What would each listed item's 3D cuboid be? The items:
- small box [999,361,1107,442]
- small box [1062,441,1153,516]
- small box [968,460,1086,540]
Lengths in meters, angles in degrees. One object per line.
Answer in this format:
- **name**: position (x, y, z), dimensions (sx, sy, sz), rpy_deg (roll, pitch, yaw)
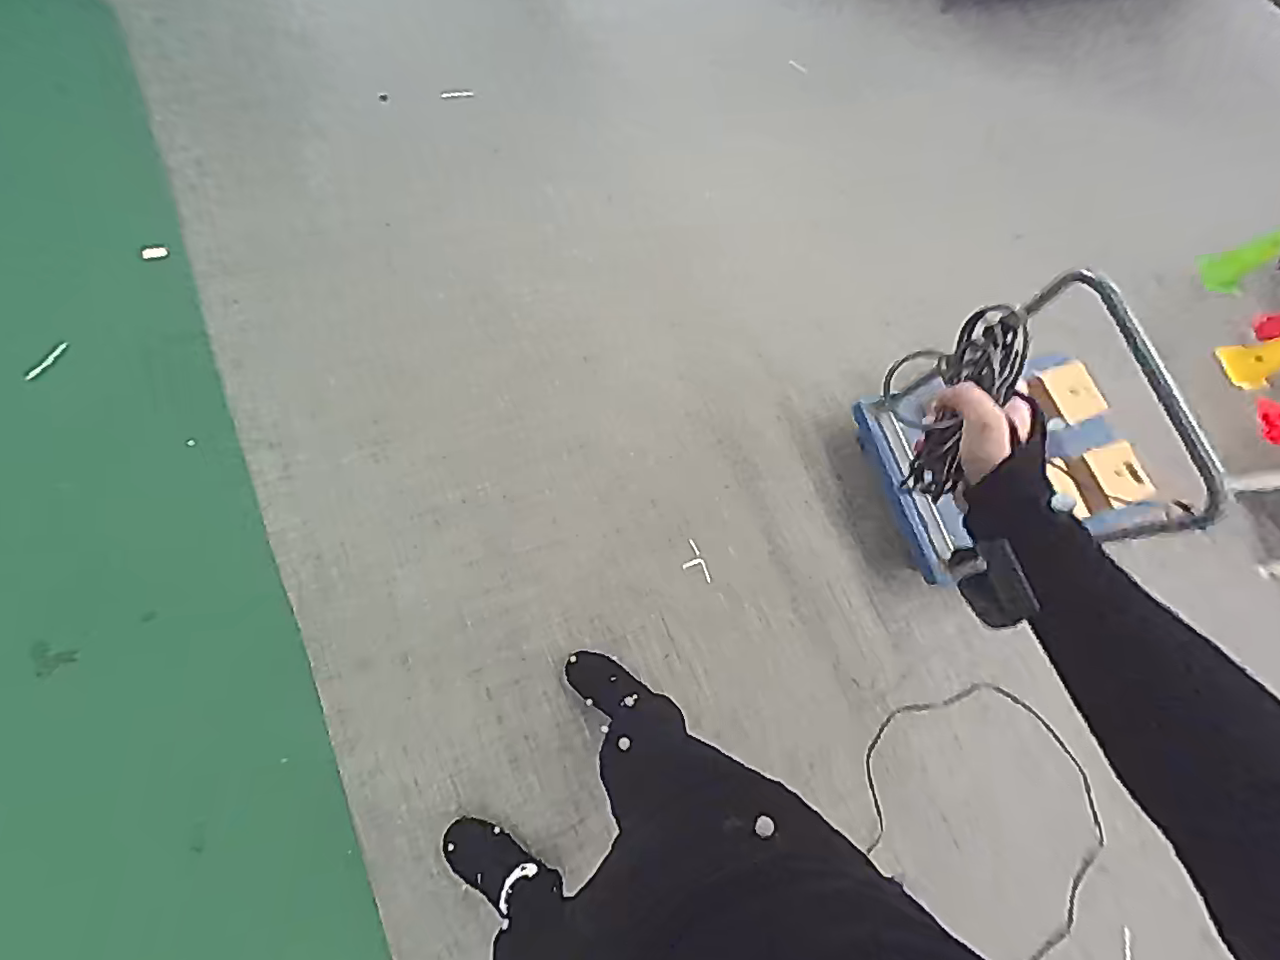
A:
- **small box**: position (1.228, -0.231, 1.628), dimensions (0.179, 0.176, 0.168), rpy_deg (-17, 78, -17)
- **small box**: position (1.310, 0.006, 1.573), dimensions (0.179, 0.176, 0.168), rpy_deg (-16, 77, -16)
- **small box**: position (1.067, 0.058, 1.504), dimensions (0.179, 0.176, 0.168), rpy_deg (-13, 76, -15)
